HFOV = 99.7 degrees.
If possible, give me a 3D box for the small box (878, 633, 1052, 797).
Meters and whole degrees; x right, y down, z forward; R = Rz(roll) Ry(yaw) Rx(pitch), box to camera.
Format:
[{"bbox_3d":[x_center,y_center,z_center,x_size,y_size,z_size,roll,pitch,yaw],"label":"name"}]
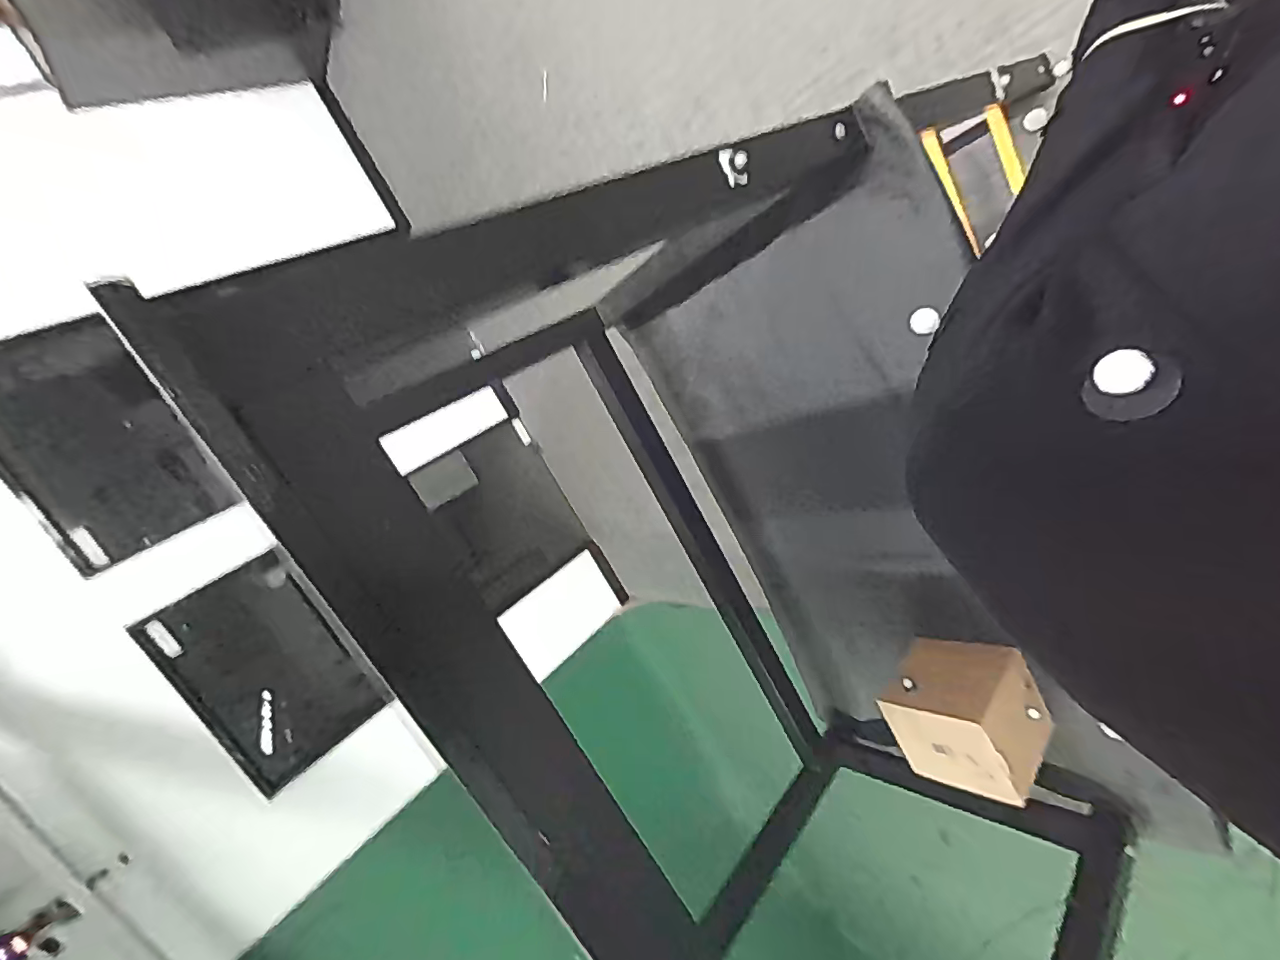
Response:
[{"bbox_3d":[0.545,0.378,0.909,0.179,0.176,0.168,-14,109,56],"label":"small box"}]
